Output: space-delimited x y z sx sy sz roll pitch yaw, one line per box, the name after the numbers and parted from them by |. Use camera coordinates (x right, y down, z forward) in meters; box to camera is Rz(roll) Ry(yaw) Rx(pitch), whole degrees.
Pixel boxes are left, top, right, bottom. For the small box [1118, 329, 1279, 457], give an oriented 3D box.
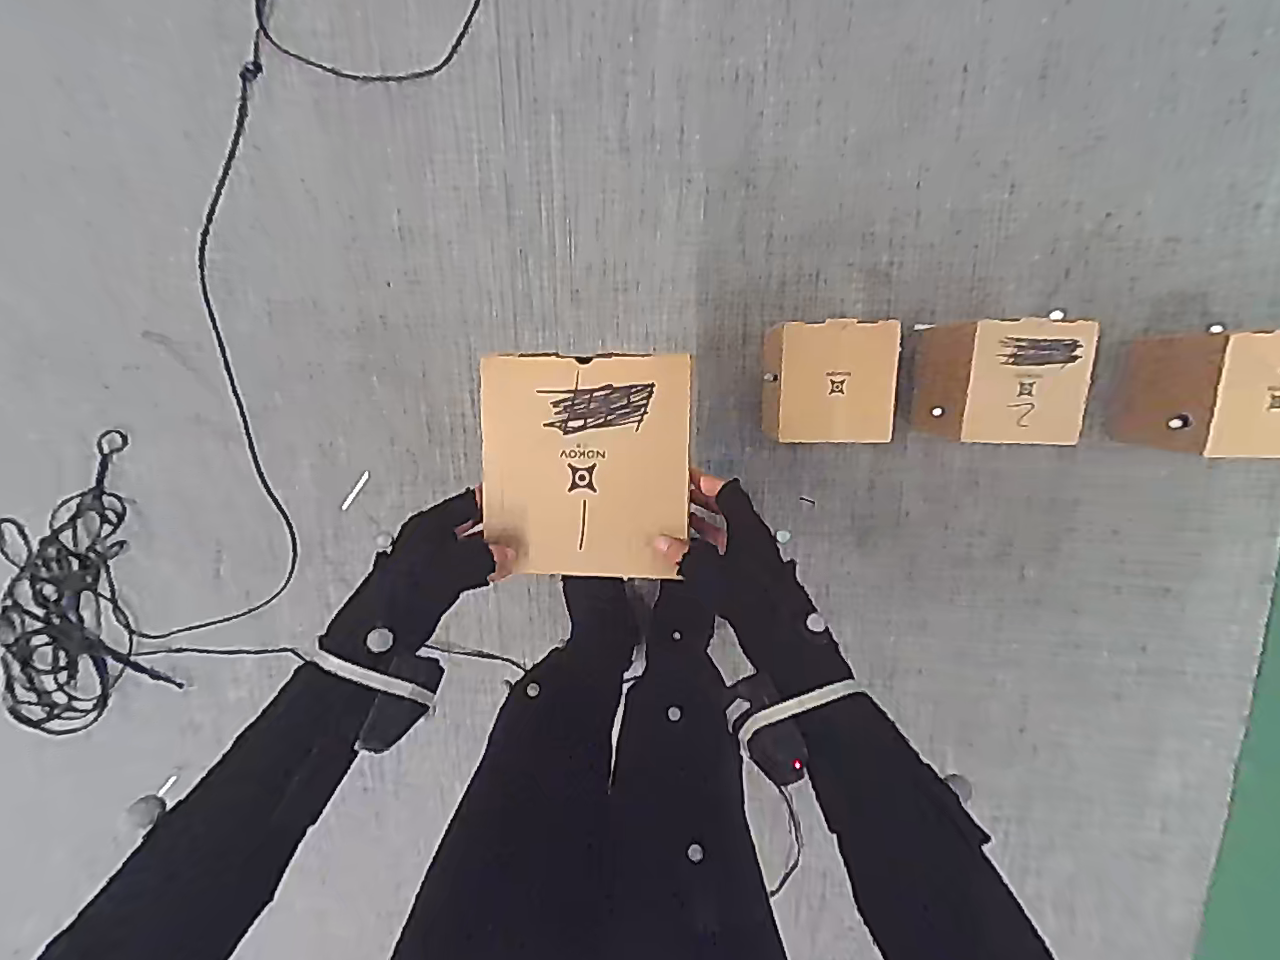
0.882 -0.134 0.819 0.168 0.176 0.179 0 101 4 | small box

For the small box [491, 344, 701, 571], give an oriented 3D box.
-0.029 -0.024 0.501 0.168 0.176 0.179 1 96 7 | small box

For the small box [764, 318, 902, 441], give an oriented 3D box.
0.294 -0.159 0.858 0.168 0.176 0.179 0 100 5 | small box
